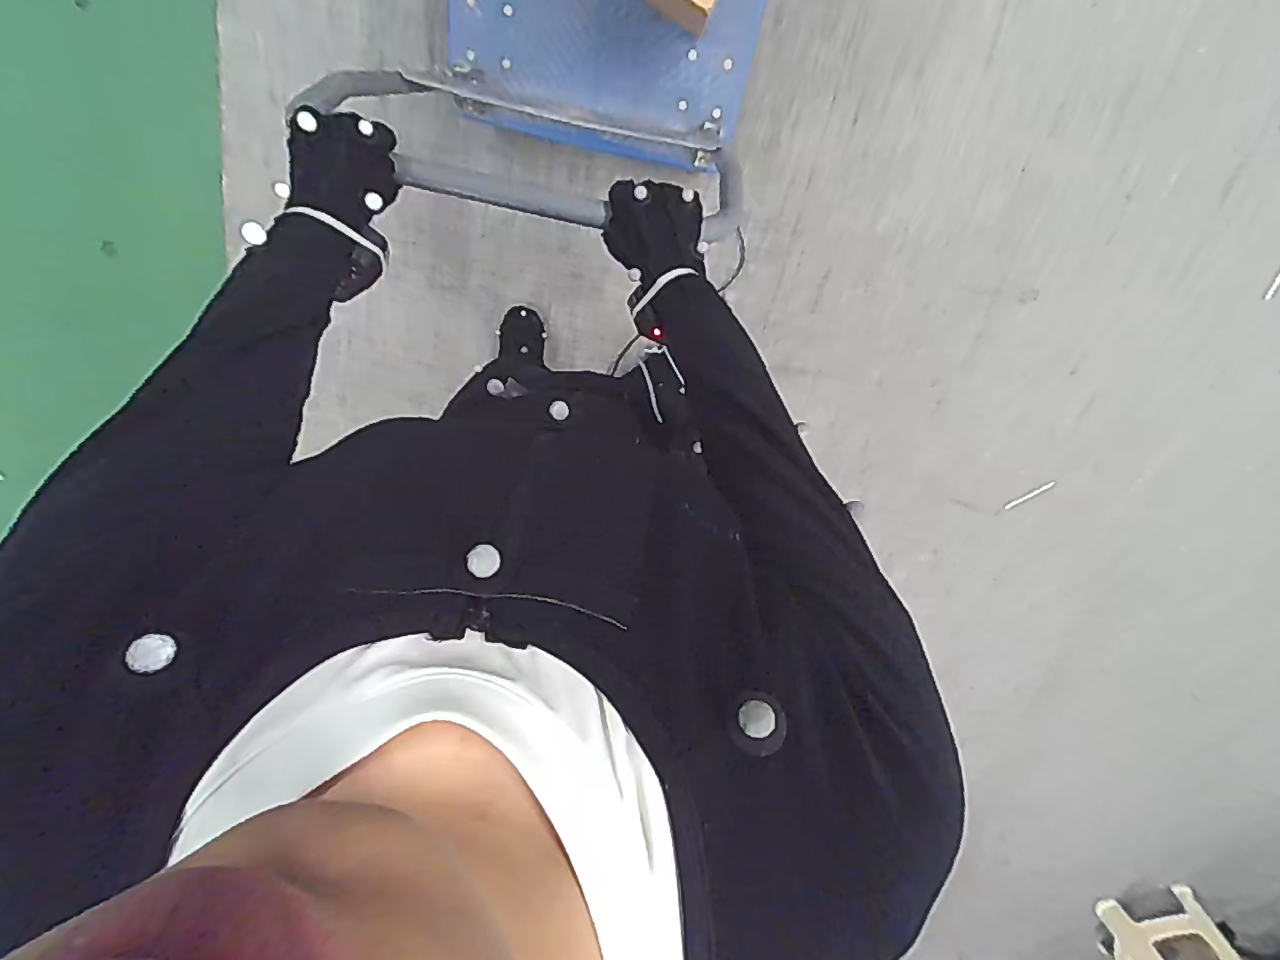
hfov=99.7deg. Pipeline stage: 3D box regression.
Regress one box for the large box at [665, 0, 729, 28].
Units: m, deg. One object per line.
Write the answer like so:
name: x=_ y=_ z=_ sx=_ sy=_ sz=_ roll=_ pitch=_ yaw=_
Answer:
large box: x=0.014 y=-0.936 z=0.763 sx=0.408 sy=0.320 sz=0.320 roll=25 pitch=122 yaw=-11
